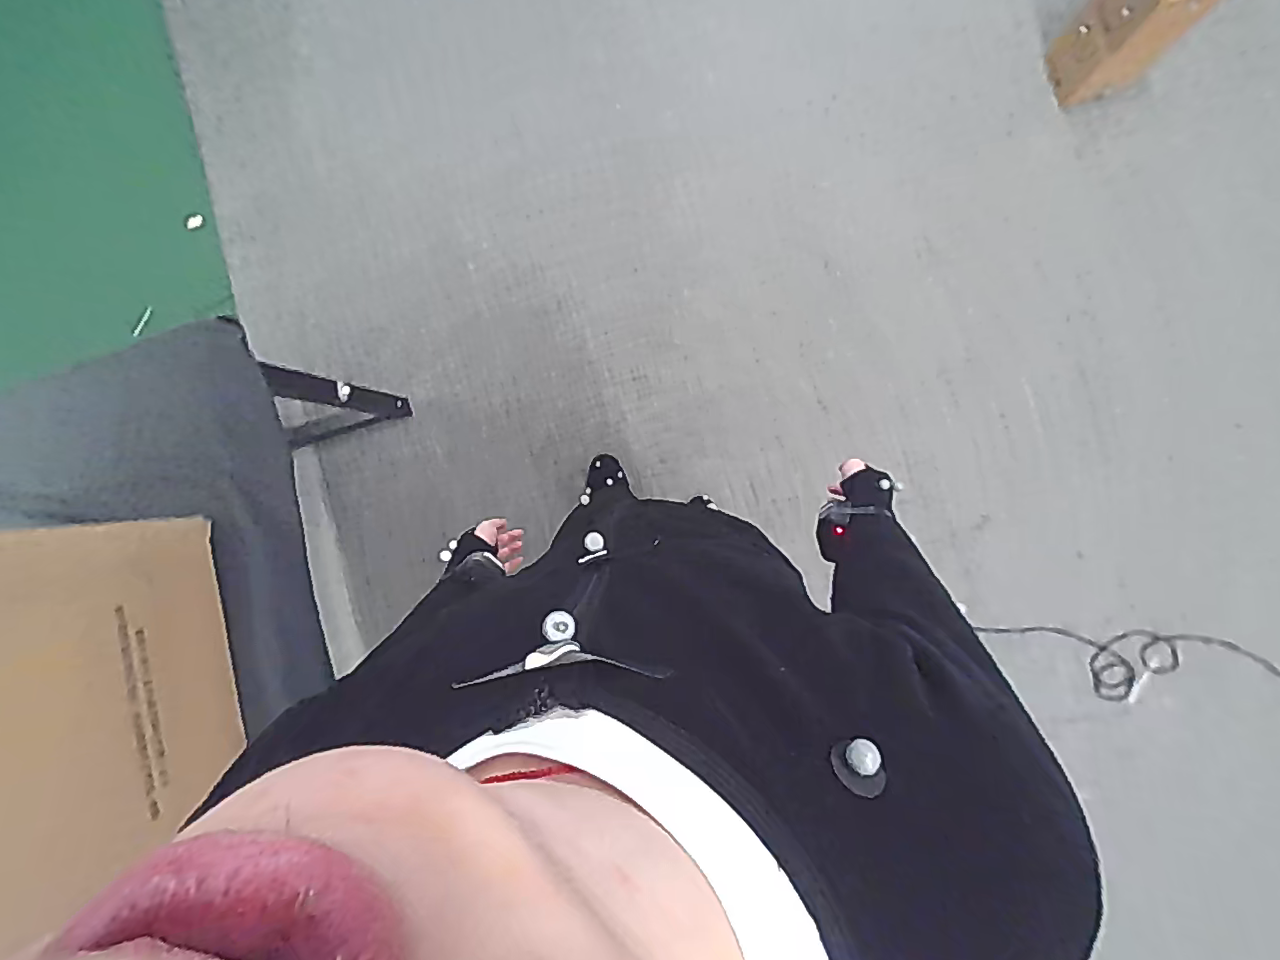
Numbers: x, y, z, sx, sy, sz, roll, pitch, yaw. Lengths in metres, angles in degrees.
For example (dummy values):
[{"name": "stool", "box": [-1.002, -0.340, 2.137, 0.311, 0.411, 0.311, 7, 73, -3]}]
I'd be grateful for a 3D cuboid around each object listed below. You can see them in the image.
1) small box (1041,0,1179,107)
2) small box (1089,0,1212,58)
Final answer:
[{"name": "small box", "box": [1.145, -1.071, 1.332, 0.179, 0.176, 0.168, -14, 88, 7]}, {"name": "small box", "box": [1.126, -1.073, 1.171, 0.179, 0.176, 0.168, -17, 88, 6]}]
